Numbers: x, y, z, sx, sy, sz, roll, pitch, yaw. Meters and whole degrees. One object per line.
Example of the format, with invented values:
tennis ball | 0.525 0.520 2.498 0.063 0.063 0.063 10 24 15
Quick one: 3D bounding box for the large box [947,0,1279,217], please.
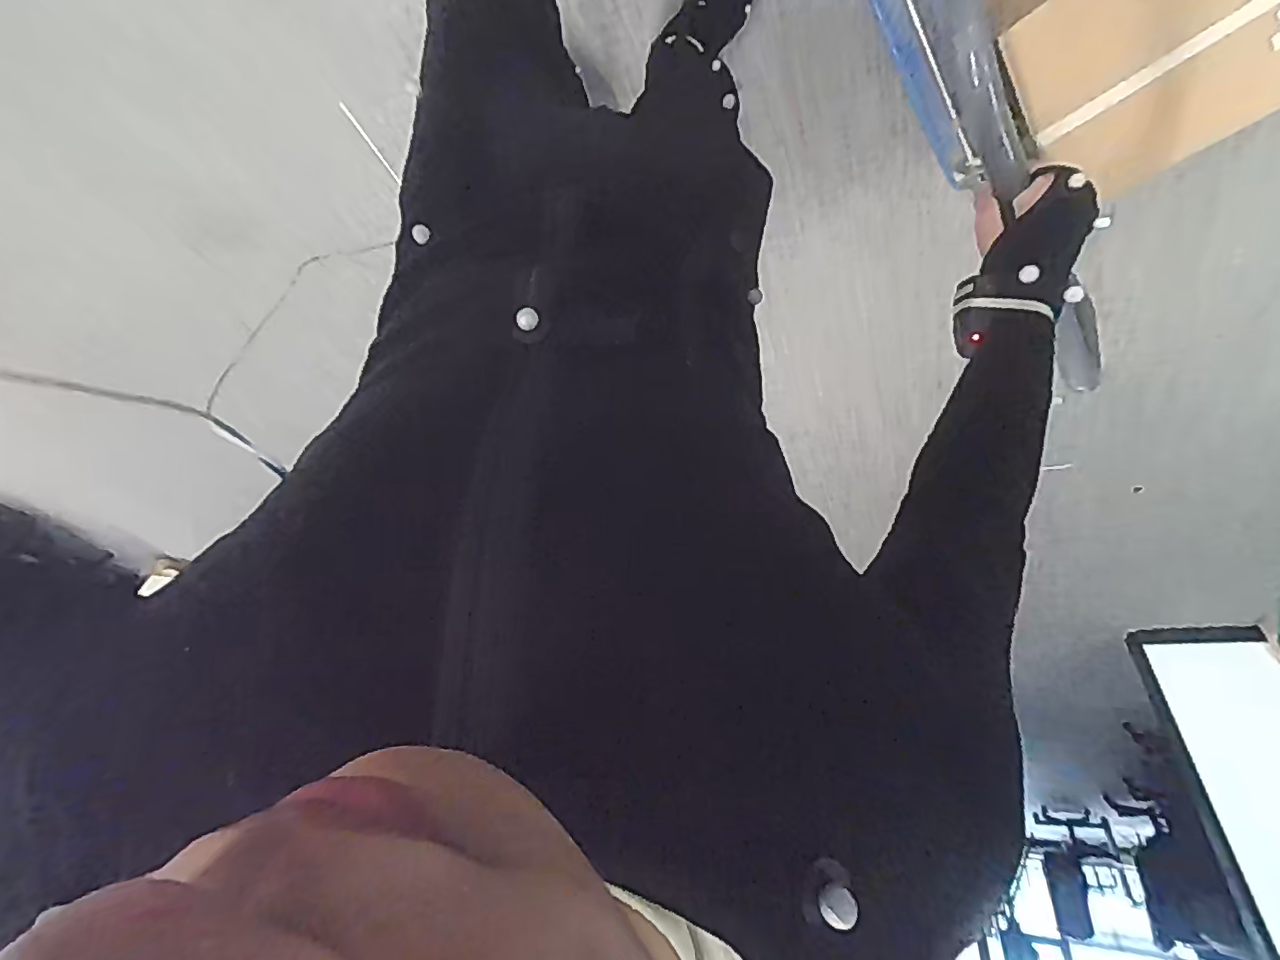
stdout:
large box | 0.723 -0.676 0.753 0.408 0.320 0.320 -25 130 36
